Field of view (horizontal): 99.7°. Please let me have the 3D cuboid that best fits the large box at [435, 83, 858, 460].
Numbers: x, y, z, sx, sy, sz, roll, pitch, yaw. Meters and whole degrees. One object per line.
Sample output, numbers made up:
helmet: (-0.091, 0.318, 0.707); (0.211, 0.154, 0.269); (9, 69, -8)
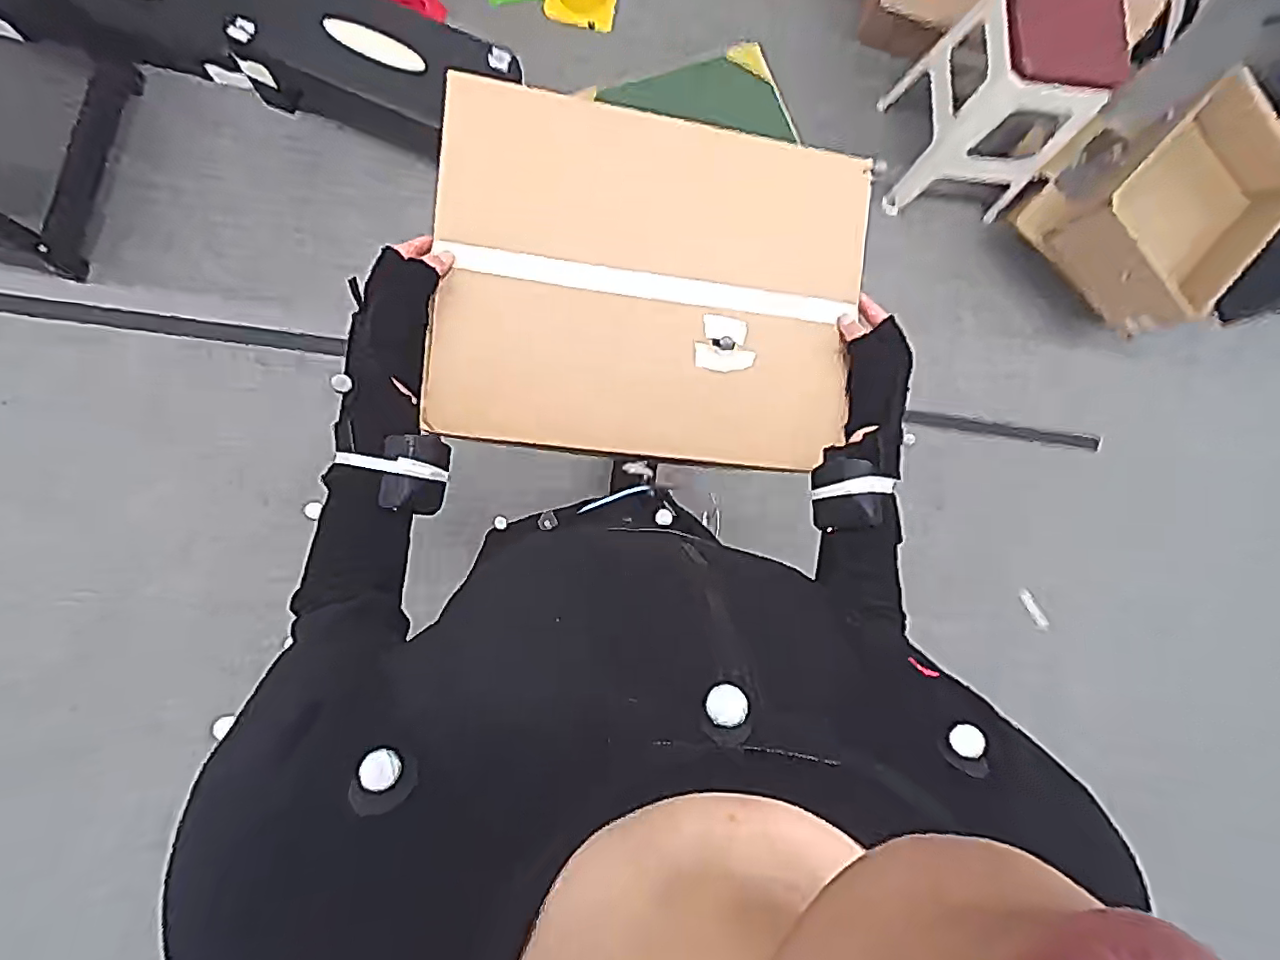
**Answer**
large box: (-0.011, -0.193, 0.665); (0.408, 0.320, 0.320); (5, 92, -11)
